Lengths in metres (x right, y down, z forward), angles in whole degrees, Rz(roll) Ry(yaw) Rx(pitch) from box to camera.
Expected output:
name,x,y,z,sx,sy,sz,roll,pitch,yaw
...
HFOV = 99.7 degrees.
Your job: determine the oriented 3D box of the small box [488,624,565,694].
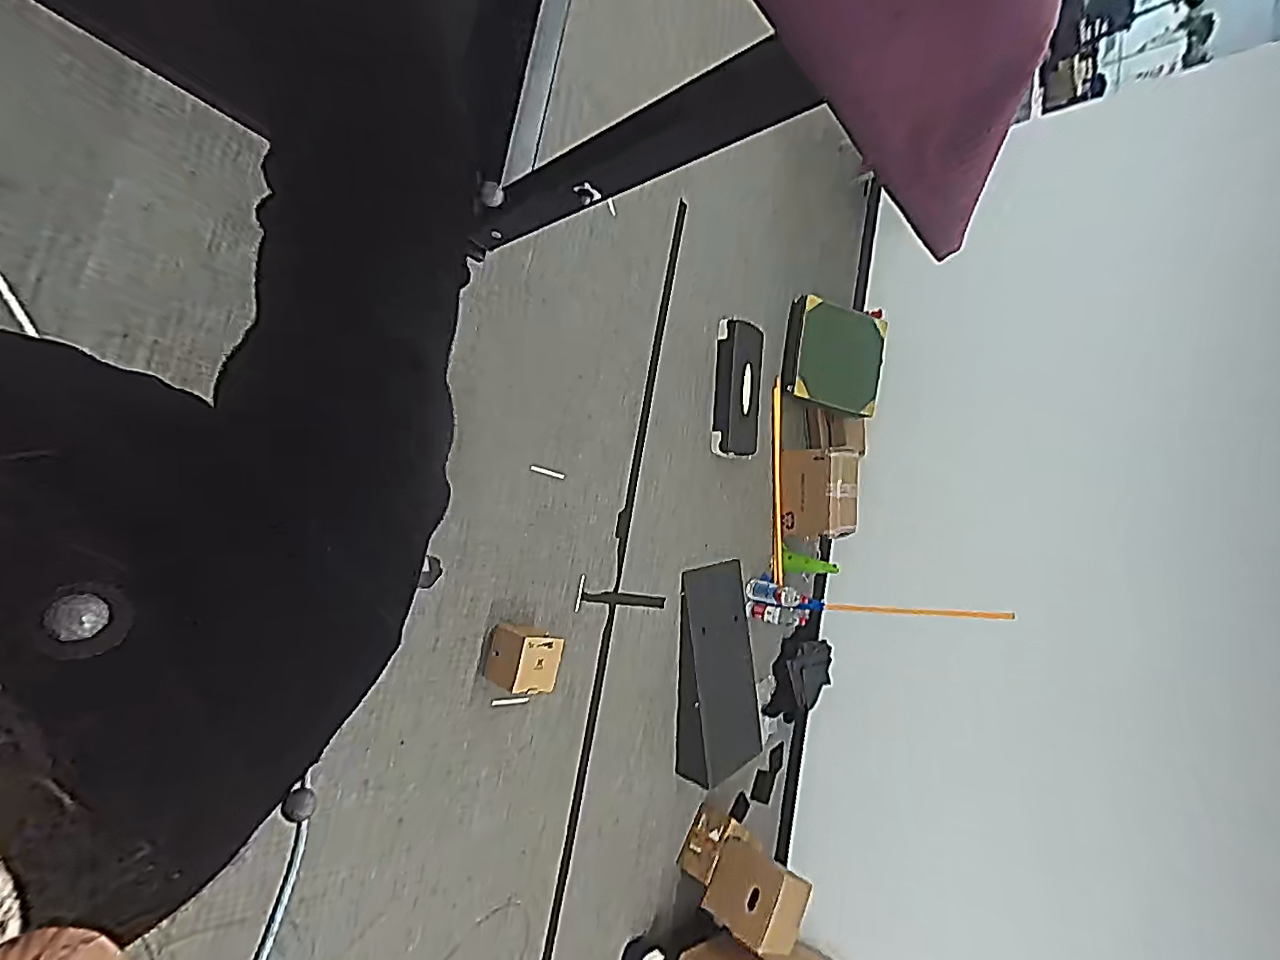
name,x,y,z,sx,sy,sz,roll,pitch,yaw
small box,-0.378,0.590,1.785,0.168,0.176,0.179,21,79,-47
